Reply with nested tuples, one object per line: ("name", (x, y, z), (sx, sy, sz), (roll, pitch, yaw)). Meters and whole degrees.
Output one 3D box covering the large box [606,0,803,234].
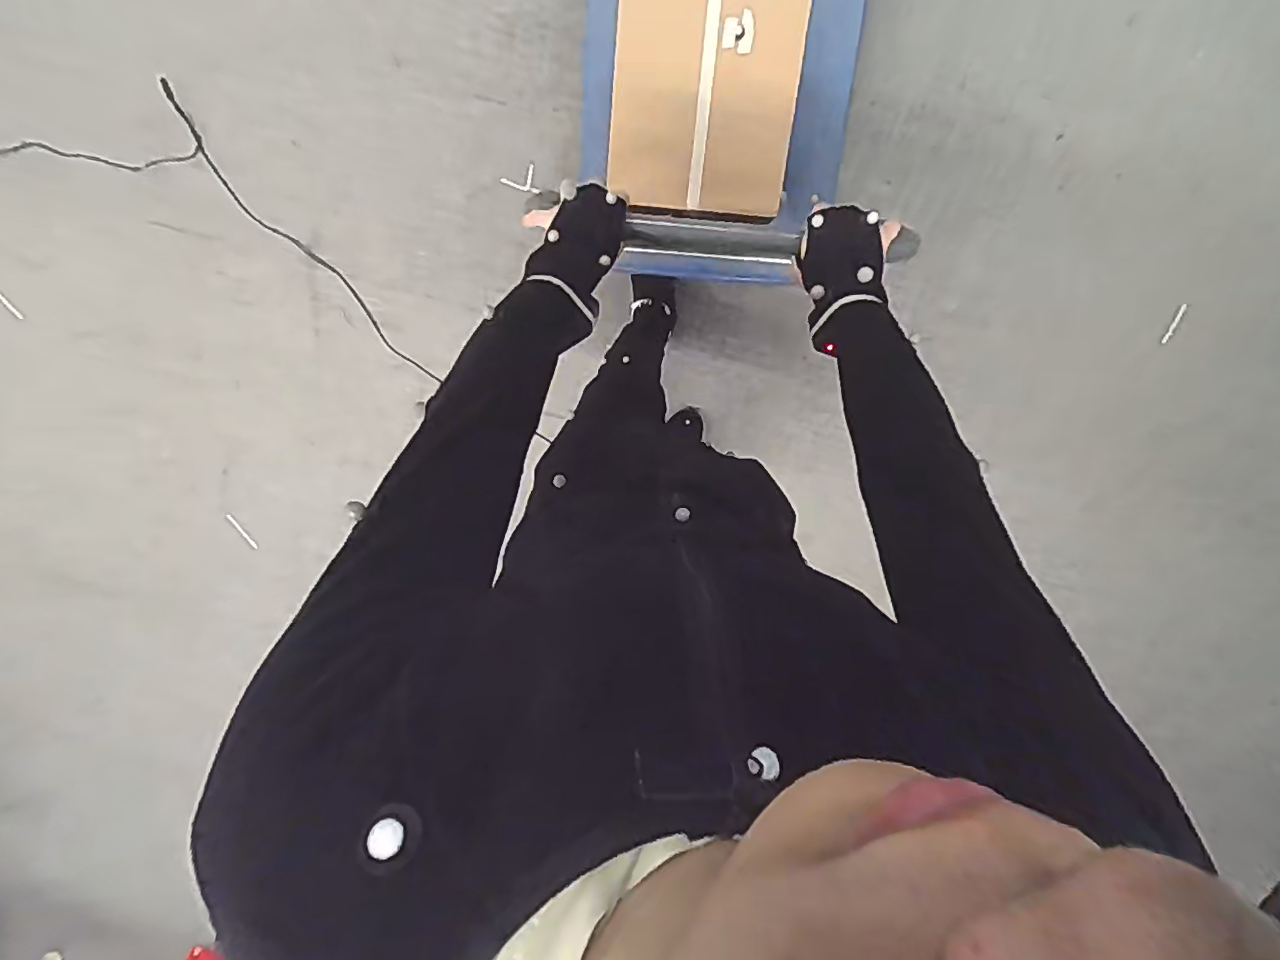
("large box", (0.117, -0.731, 1.068), (0.320, 0.320, 0.408), (6, 107, 2))
